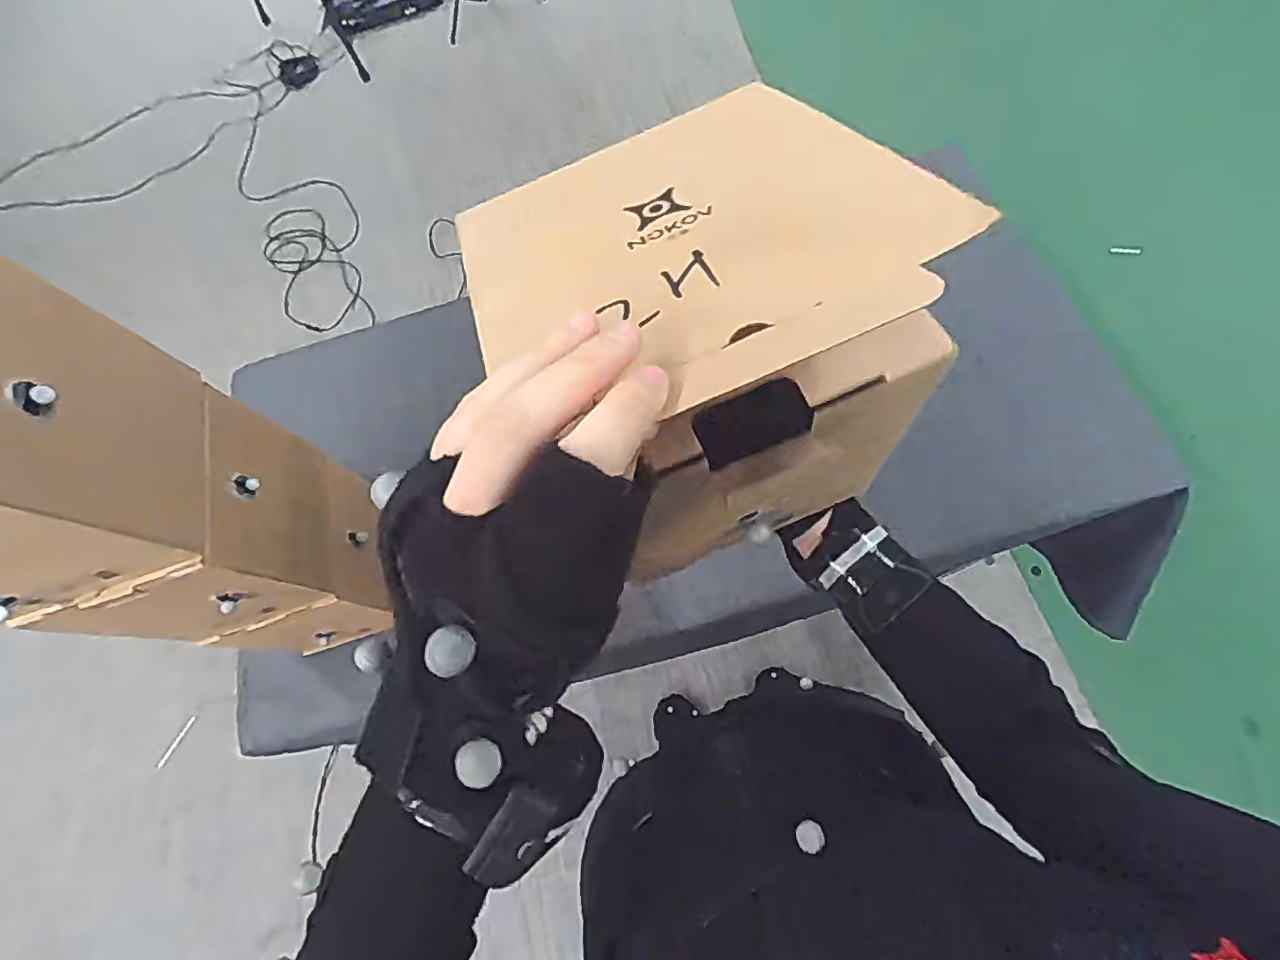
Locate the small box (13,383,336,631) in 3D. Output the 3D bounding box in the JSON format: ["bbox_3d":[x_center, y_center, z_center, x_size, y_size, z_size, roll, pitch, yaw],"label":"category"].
[{"bbox_3d":[-0.424,0.040,0.525,0.168,0.176,0.179,-17,68,1],"label":"small box"}]

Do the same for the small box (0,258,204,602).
[{"bbox_3d":[-0.447,-0.023,0.375,0.168,0.176,0.179,-18,68,0],"label":"small box"}]

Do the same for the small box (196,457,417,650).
[{"bbox_3d":[-0.403,0.100,0.674,0.168,0.176,0.179,-18,69,1],"label":"small box"}]

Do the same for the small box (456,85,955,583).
[{"bbox_3d":[0.025,-0.064,0.306,0.168,0.176,0.179,-24,66,1],"label":"small box"}]
